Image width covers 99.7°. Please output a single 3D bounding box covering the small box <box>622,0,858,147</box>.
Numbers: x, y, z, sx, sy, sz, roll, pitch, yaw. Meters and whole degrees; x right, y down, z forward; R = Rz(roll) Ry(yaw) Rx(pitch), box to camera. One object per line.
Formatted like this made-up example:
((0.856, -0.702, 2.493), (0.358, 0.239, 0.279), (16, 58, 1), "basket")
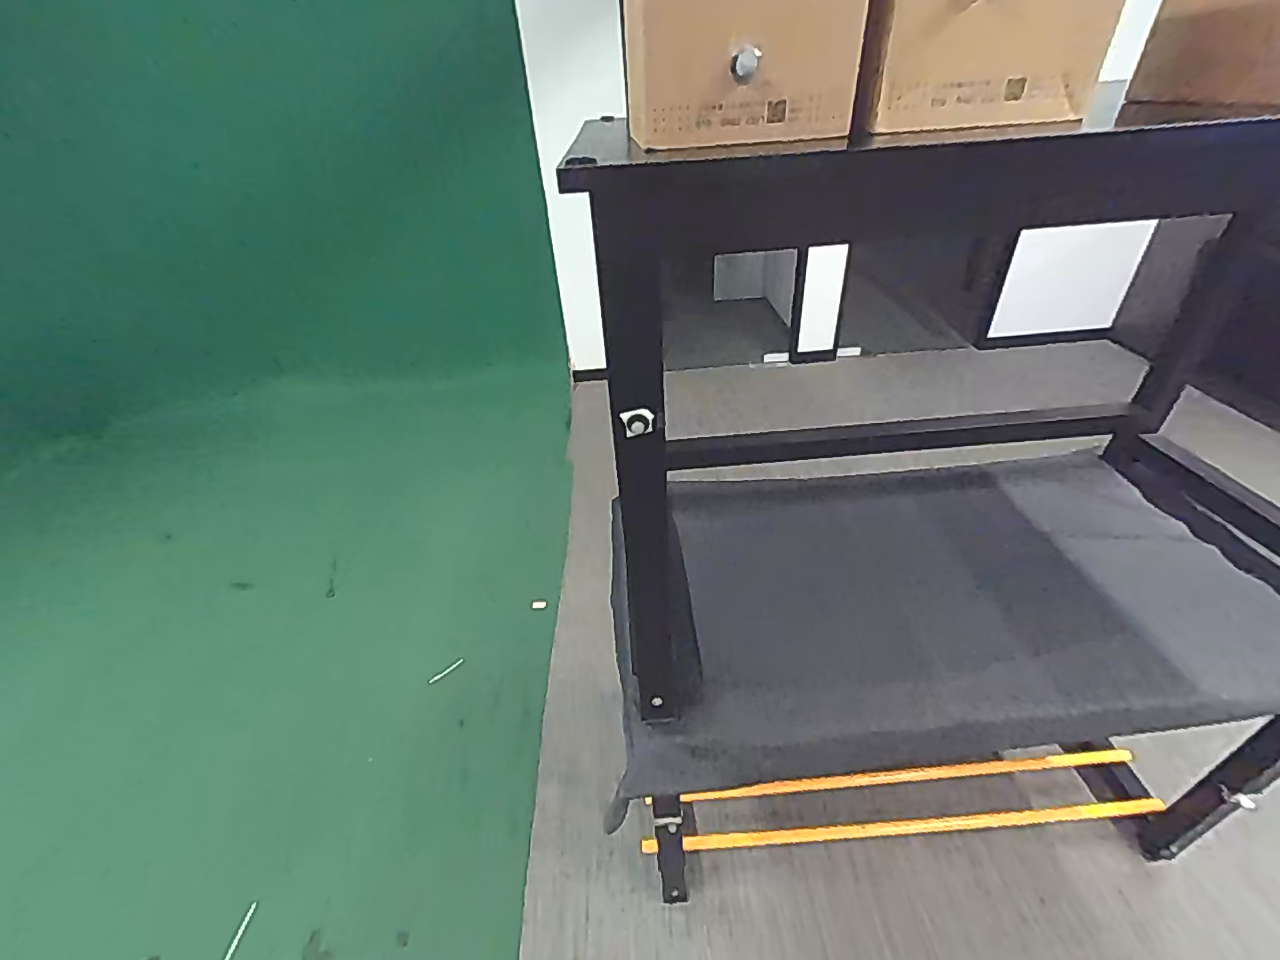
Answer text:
((0.070, -0.383, 0.451), (0.168, 0.176, 0.179), (-5, 37, -2), "small box")
